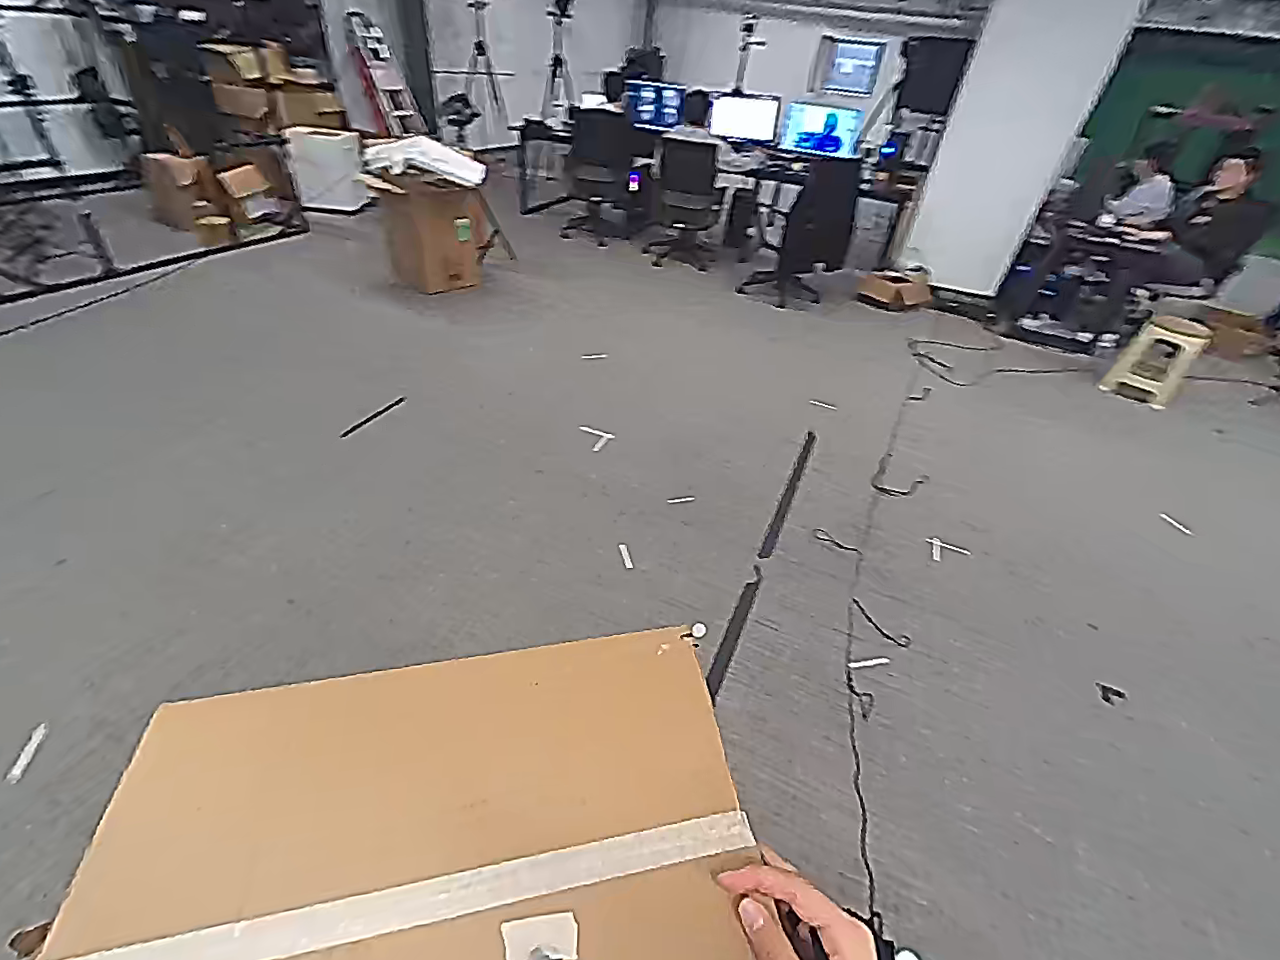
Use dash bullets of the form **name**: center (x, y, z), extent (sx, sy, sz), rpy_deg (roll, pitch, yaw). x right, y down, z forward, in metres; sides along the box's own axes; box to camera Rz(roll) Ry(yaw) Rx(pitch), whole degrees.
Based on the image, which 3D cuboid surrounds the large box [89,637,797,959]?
- **large box**: center (-0.122, 0.368, 0.428), extent (0.408, 0.320, 0.320), rpy_deg (-5, 44, -10)
